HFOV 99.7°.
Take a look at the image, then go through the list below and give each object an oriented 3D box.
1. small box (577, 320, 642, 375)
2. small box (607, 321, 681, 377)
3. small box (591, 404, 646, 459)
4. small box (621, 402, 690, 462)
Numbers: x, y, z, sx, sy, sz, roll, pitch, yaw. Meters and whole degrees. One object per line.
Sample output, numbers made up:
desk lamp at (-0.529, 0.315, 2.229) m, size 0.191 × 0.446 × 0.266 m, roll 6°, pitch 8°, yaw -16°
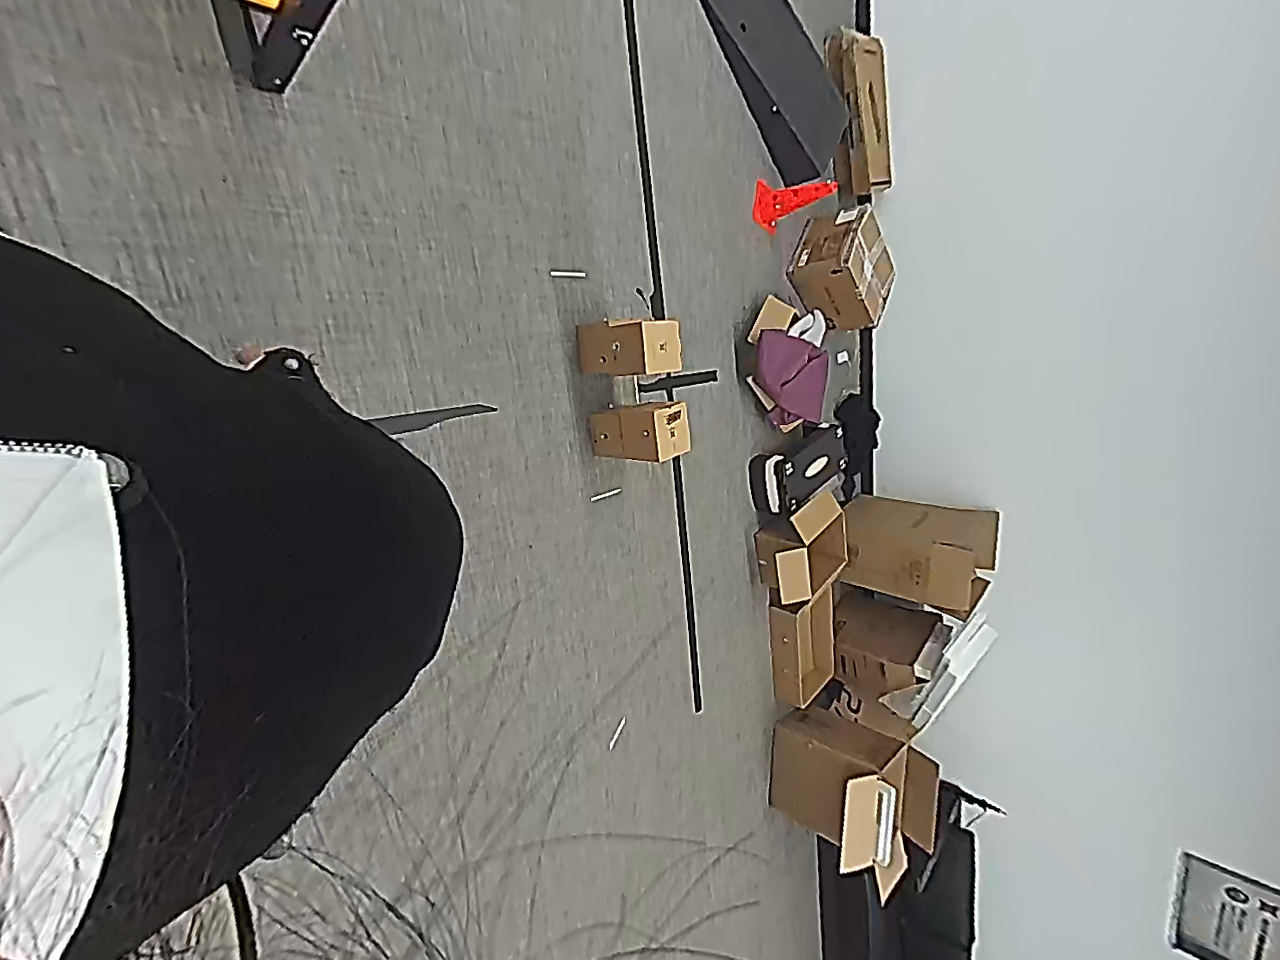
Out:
small box at (-0.102, -0.465, 1.901) m, size 0.168 × 0.176 × 0.179 m, roll -18°, pitch 108°, yaw -43°
small box at (0.013, -0.432, 1.789) m, size 0.179 × 0.176 × 0.168 m, roll -17°, pitch 107°, yaw -42°
small box at (-0.065, -0.180, 1.982) m, size 0.179 × 0.176 × 0.168 m, roll -22°, pitch 111°, yaw -41°
small box at (0.050, -0.169, 1.863) m, size 0.168 × 0.176 × 0.179 m, roll -23°, pitch 112°, yaw -42°
